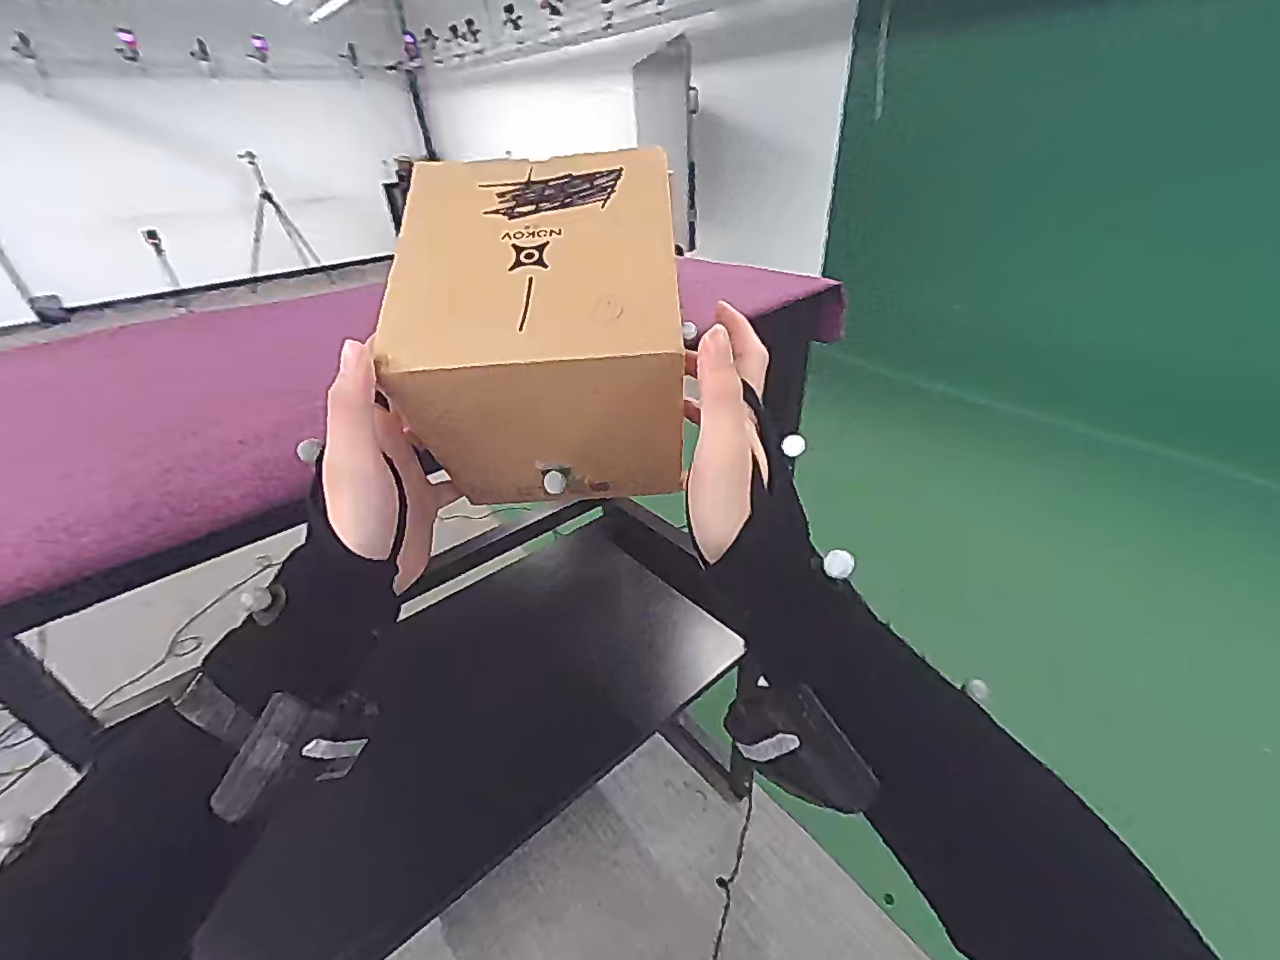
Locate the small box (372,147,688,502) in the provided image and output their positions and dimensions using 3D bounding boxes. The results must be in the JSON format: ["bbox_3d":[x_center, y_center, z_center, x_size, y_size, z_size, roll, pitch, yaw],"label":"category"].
[{"bbox_3d":[-0.055,-0.099,0.385,0.168,0.176,0.179,-3,63,2],"label":"small box"}]
